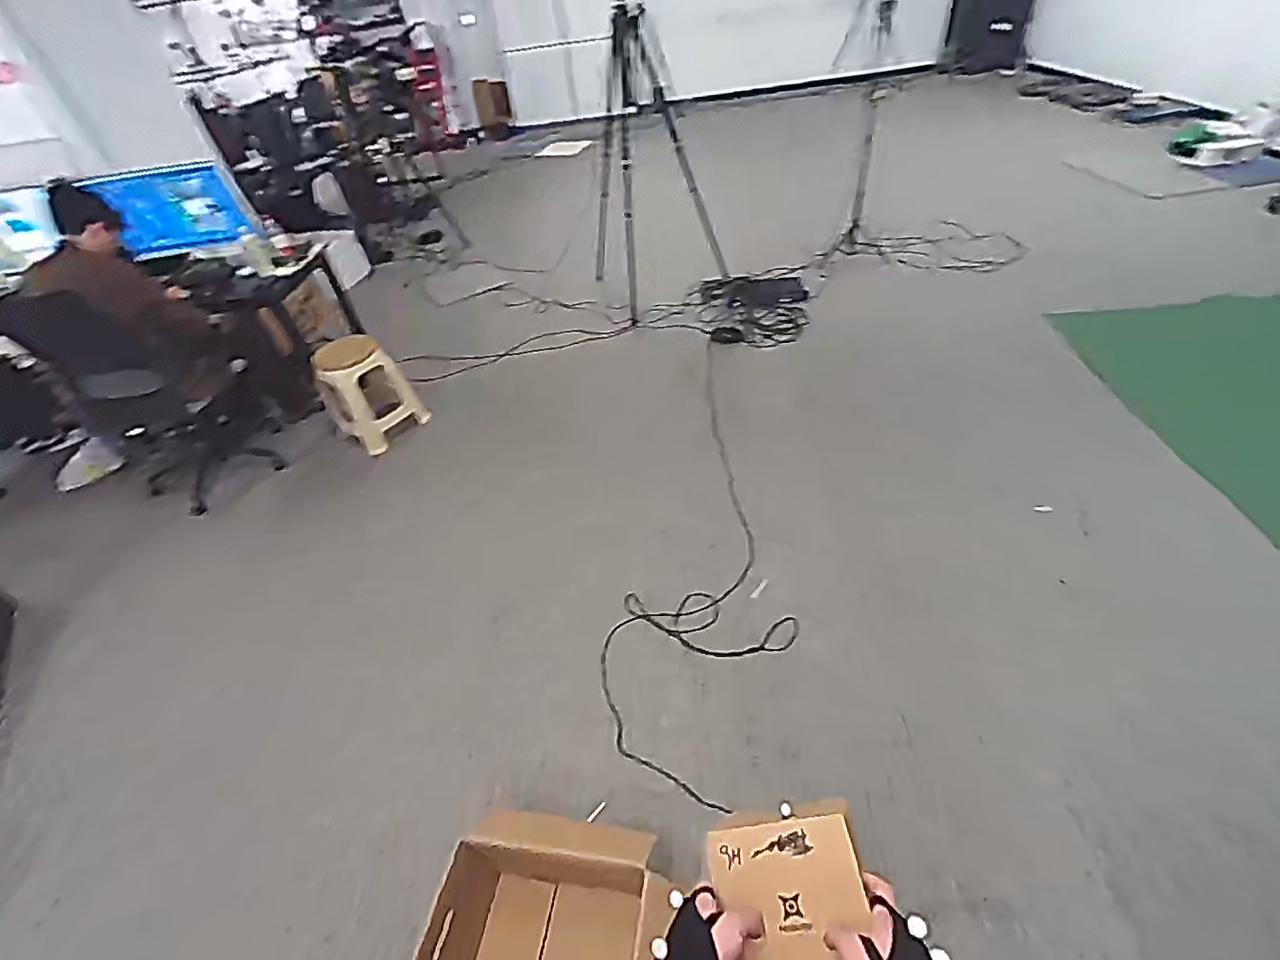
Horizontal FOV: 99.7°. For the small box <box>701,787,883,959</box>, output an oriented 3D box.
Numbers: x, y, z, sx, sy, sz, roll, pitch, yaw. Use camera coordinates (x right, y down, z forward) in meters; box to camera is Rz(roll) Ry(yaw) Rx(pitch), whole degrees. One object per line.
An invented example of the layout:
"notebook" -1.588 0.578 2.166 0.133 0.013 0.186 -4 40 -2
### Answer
"small box" 0.192 0.501 0.672 0.168 0.176 0.179 -19 62 14
